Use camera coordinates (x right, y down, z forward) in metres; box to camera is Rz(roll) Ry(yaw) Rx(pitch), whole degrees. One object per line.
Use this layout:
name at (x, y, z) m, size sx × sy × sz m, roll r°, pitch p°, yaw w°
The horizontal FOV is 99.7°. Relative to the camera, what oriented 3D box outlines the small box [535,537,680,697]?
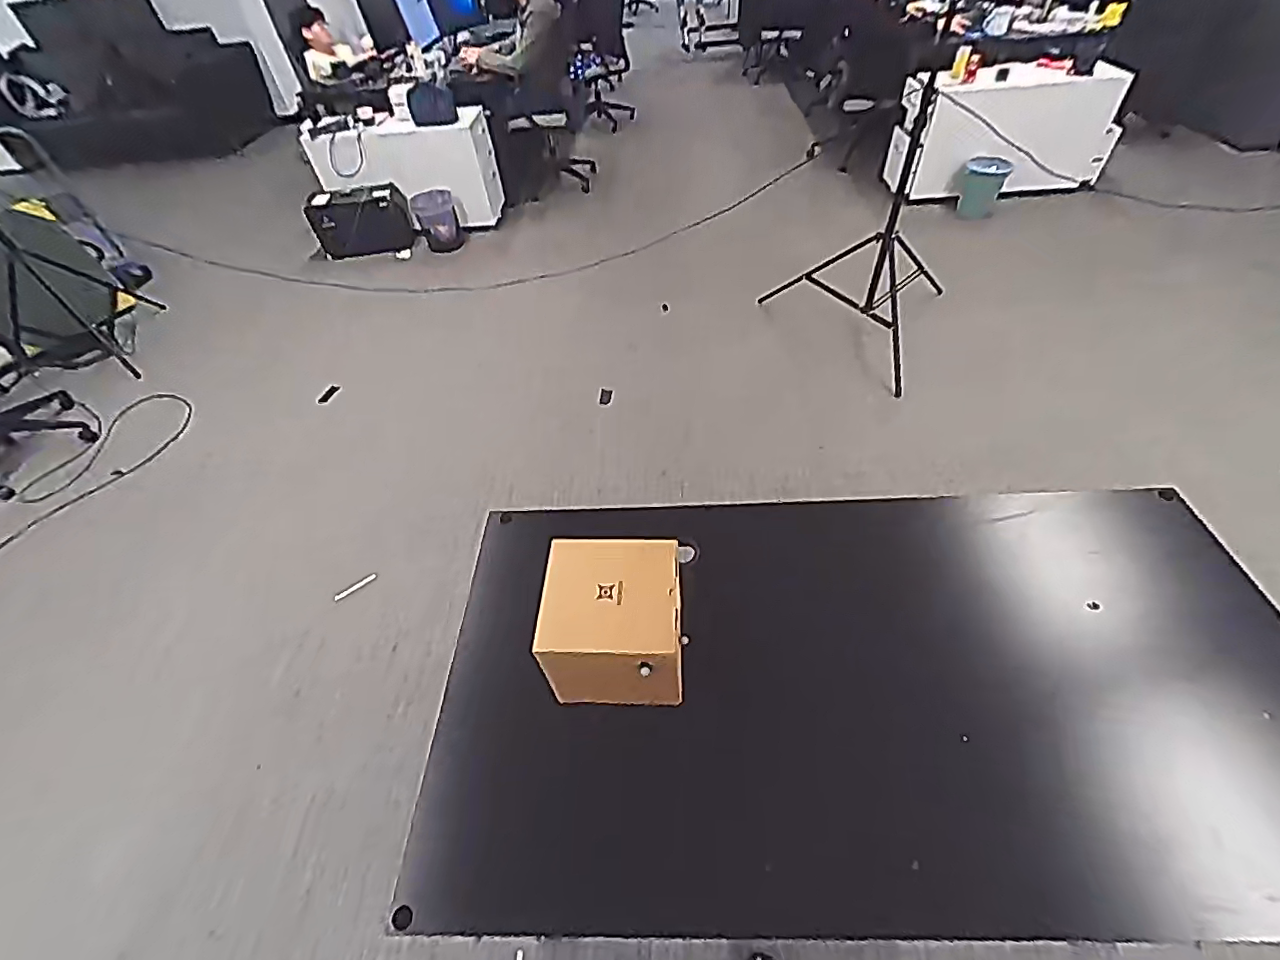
small box at (-0.034, 0.195, 0.761) m, size 0.179 × 0.176 × 0.168 m, roll -1°, pitch 49°, yaw 4°
